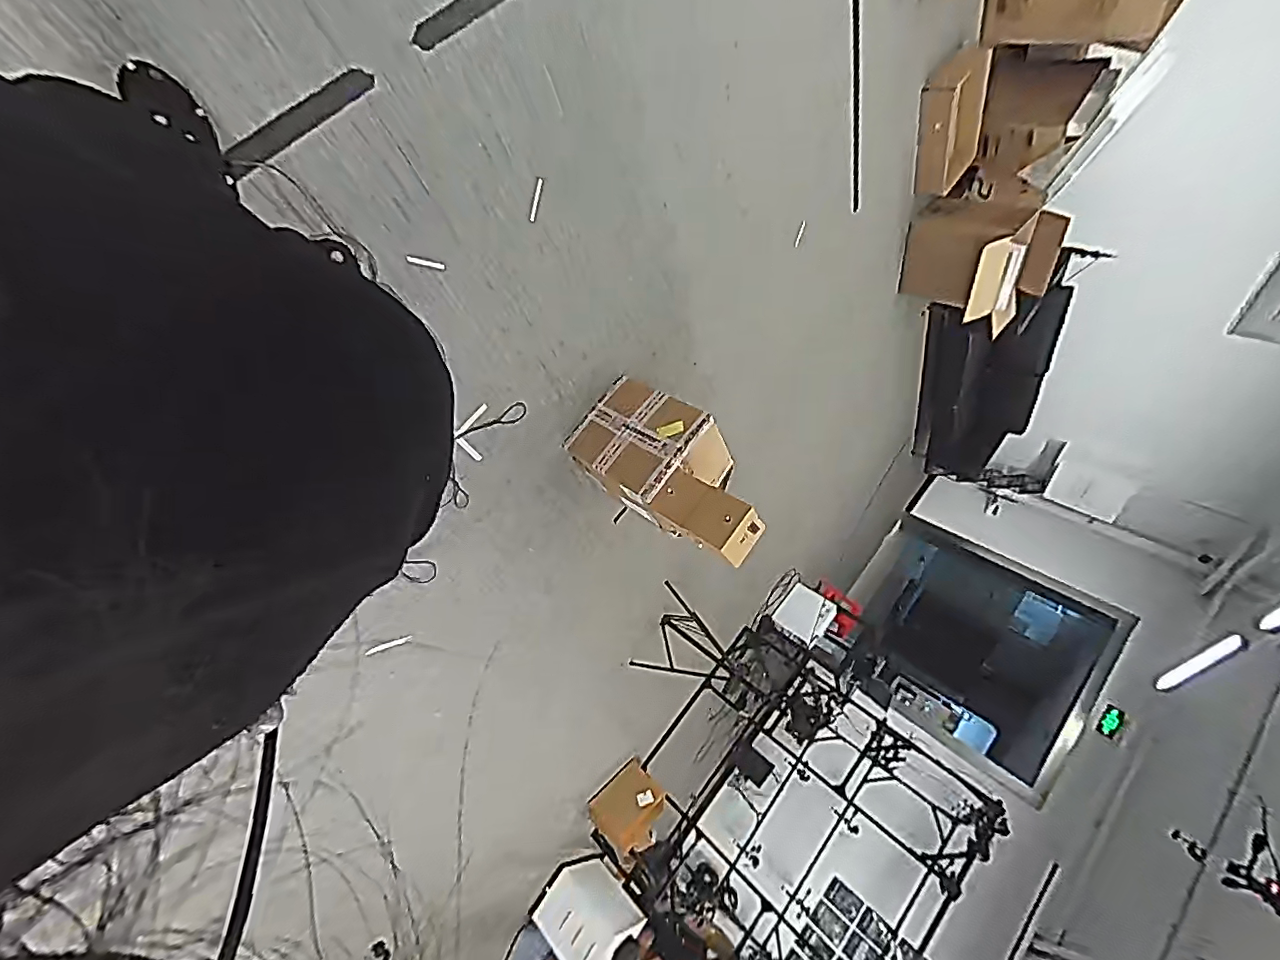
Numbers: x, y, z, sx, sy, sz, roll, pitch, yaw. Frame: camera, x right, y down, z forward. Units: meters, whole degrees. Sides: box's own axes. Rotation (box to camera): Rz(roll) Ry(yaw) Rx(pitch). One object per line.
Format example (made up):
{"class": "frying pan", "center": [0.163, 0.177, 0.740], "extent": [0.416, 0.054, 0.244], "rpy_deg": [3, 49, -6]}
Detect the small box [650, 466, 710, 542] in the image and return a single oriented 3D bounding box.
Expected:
{"class": "small box", "center": [0.158, 0.081, 1.900], "extent": [0.179, 0.176, 0.168], "rpy_deg": [-53, 141, -7]}

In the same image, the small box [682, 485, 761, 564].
{"class": "small box", "center": [0.268, 0.143, 1.793], "extent": [0.179, 0.176, 0.168], "rpy_deg": [-53, 140, -8]}
